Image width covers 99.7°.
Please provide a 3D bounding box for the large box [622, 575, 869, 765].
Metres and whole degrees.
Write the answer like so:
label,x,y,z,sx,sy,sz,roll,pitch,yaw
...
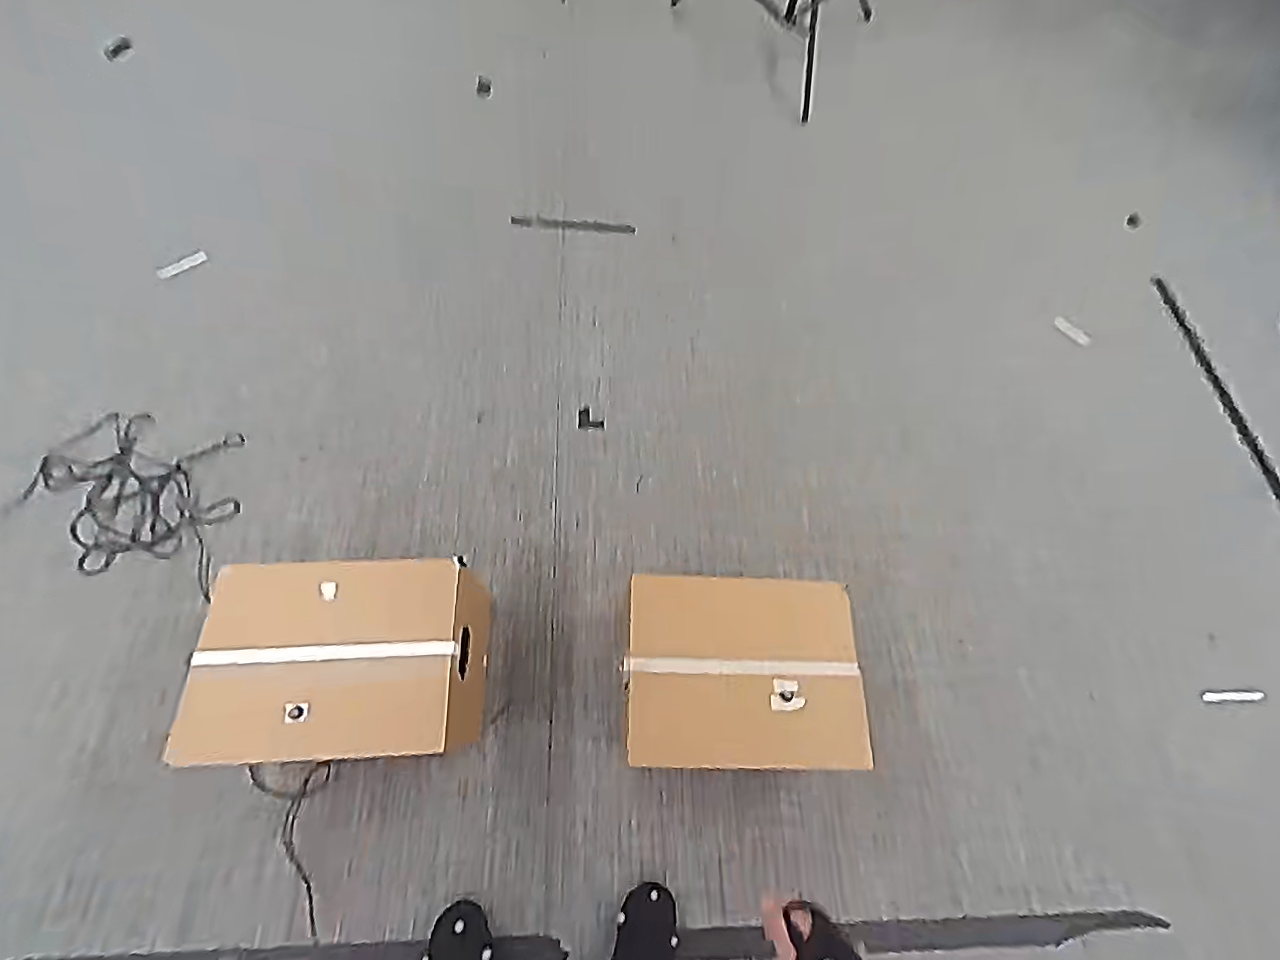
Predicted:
label,x,y,z,sx,sy,sz,roll,pitch,yaw
large box,0.172,0.388,1.081,0.408,0.320,0.320,3,65,-4
